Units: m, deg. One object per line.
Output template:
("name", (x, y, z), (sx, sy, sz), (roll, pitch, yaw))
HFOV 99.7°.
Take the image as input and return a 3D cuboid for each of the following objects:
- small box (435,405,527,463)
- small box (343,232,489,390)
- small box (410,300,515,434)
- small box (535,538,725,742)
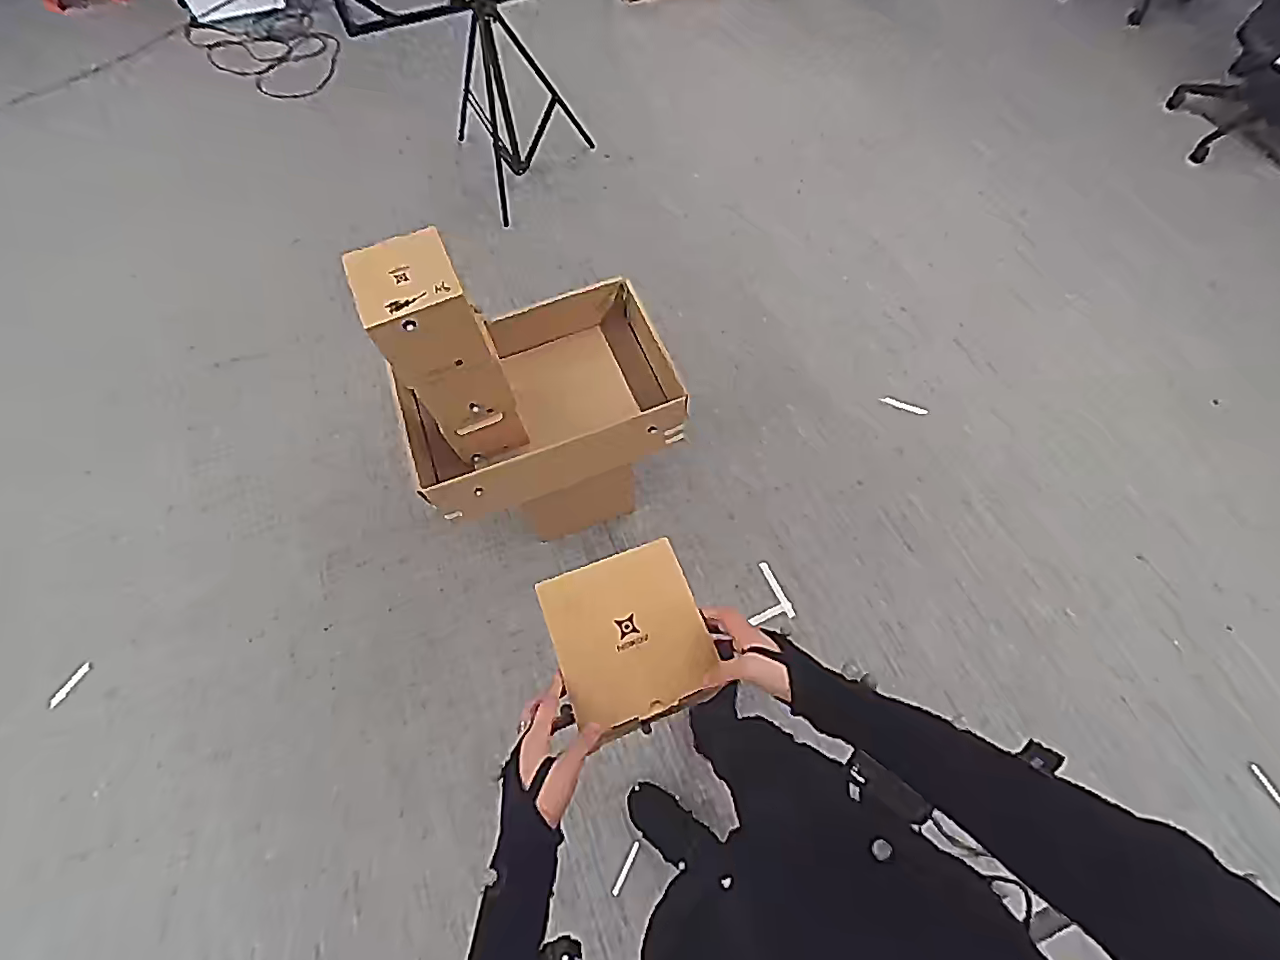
("small box", (-0.377, -0.159, 1.256), (0.168, 0.176, 0.179), (-22, 66, -8))
("small box", (-0.388, -0.293, 0.956), (0.168, 0.176, 0.179), (-23, 66, -8))
("small box", (-0.375, -0.226, 1.106), (0.168, 0.176, 0.179), (-23, 67, -8))
("small box", (-0.017, 0.200, 0.660), (0.168, 0.176, 0.179), (-19, 65, -10))
